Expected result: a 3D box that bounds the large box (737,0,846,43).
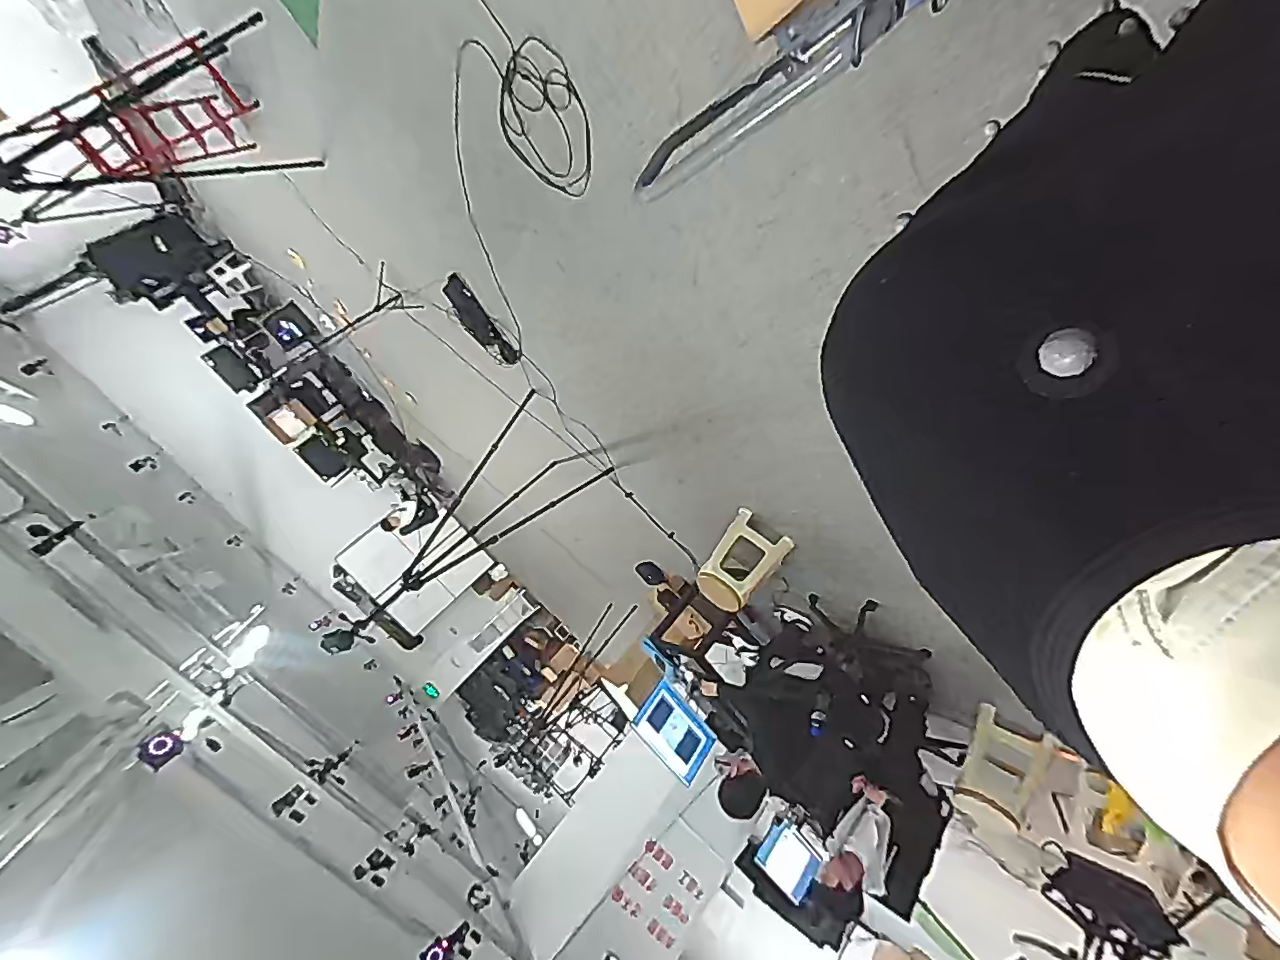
[{"bbox_3d":[0.298,-1.060,0.884,0.320,0.320,0.408,0,129,56],"label":"large box"}]
